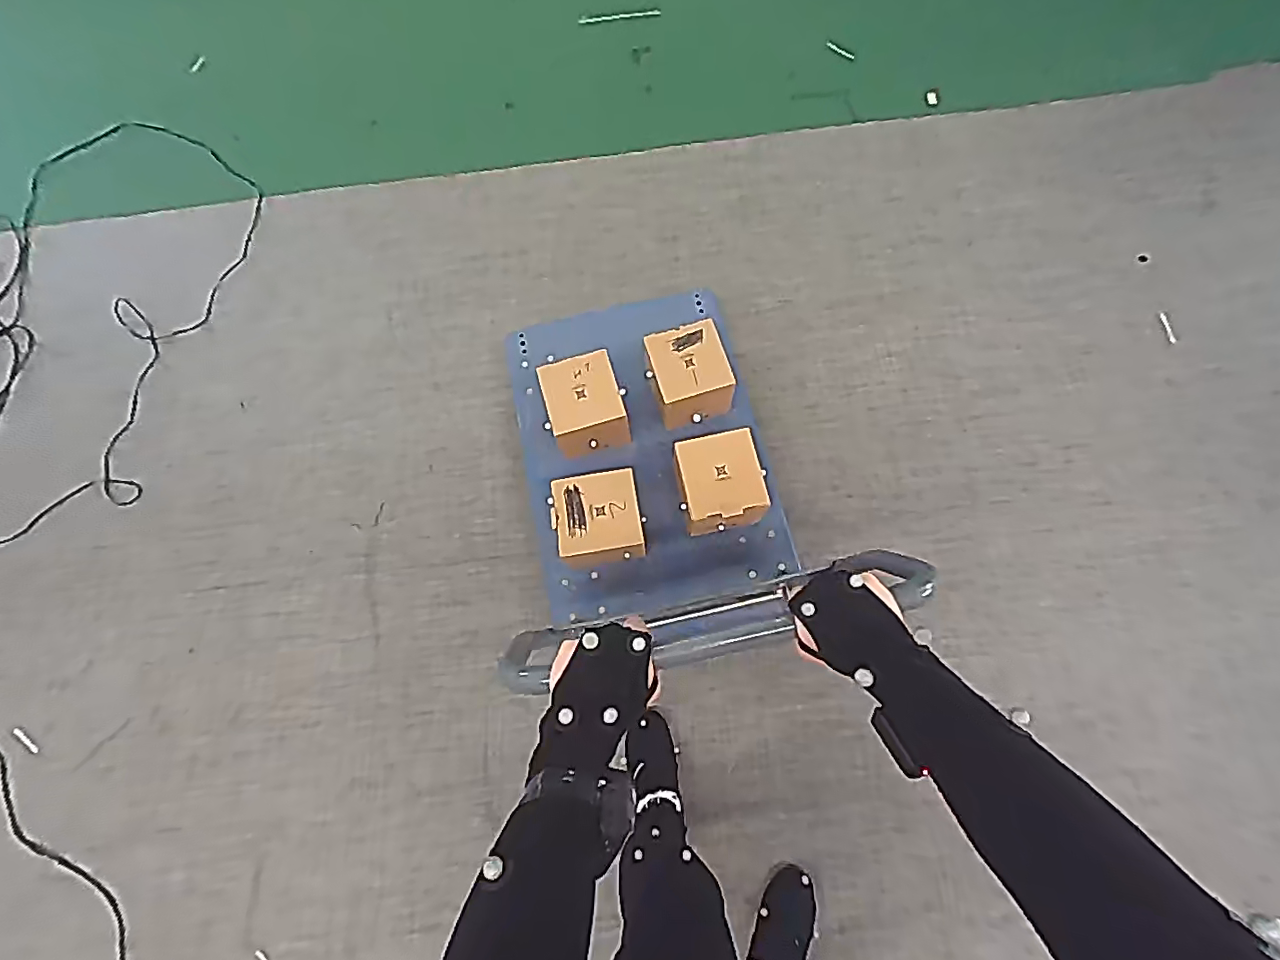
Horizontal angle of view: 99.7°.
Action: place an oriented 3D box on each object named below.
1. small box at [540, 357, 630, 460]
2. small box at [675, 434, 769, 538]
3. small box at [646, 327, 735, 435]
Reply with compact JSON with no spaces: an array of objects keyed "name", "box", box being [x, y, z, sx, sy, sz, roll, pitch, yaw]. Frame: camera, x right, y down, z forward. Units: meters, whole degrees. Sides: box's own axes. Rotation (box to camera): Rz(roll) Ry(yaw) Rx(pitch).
[{"name":"small box","box":[-0.126,-0.160,1.294,0.168,0.176,0.179,-16,73,-3]},{"name":"small box","box":[0.176,0.018,1.225,0.168,0.176,0.179,-12,73,-1]},{"name":"small box","box":[0.115,-0.234,1.304,0.168,0.176,0.179,-17,74,-1]}]
